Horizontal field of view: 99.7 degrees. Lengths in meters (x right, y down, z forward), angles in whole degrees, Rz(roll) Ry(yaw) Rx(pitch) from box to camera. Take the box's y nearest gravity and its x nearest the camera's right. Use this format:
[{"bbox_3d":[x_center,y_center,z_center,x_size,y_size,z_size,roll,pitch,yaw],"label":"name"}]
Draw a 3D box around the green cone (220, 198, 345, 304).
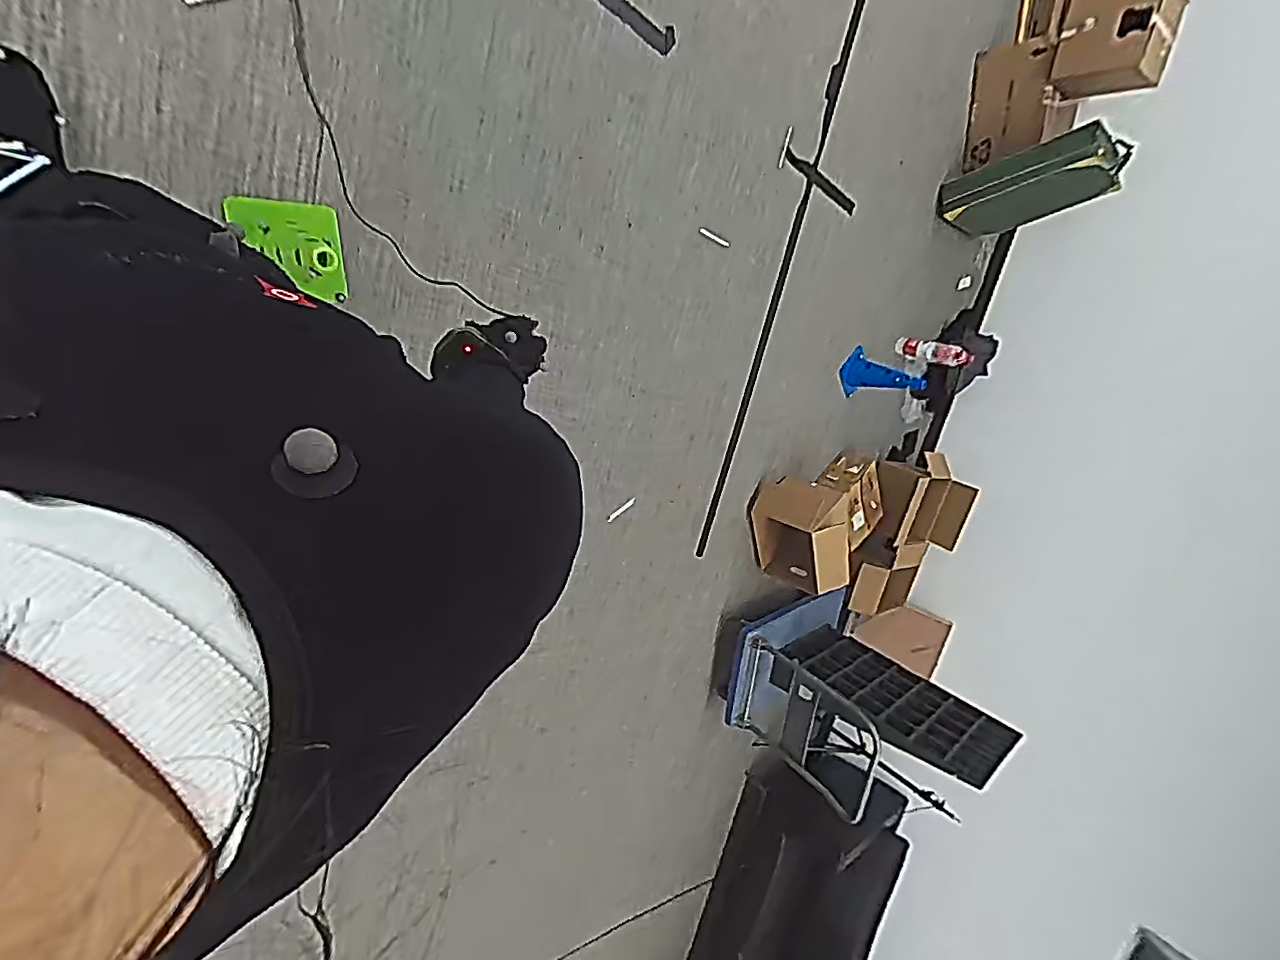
[{"bbox_3d":[-0.634,-0.422,1.009,0.202,0.368,0.200,-14,117,-36],"label":"green cone"}]
